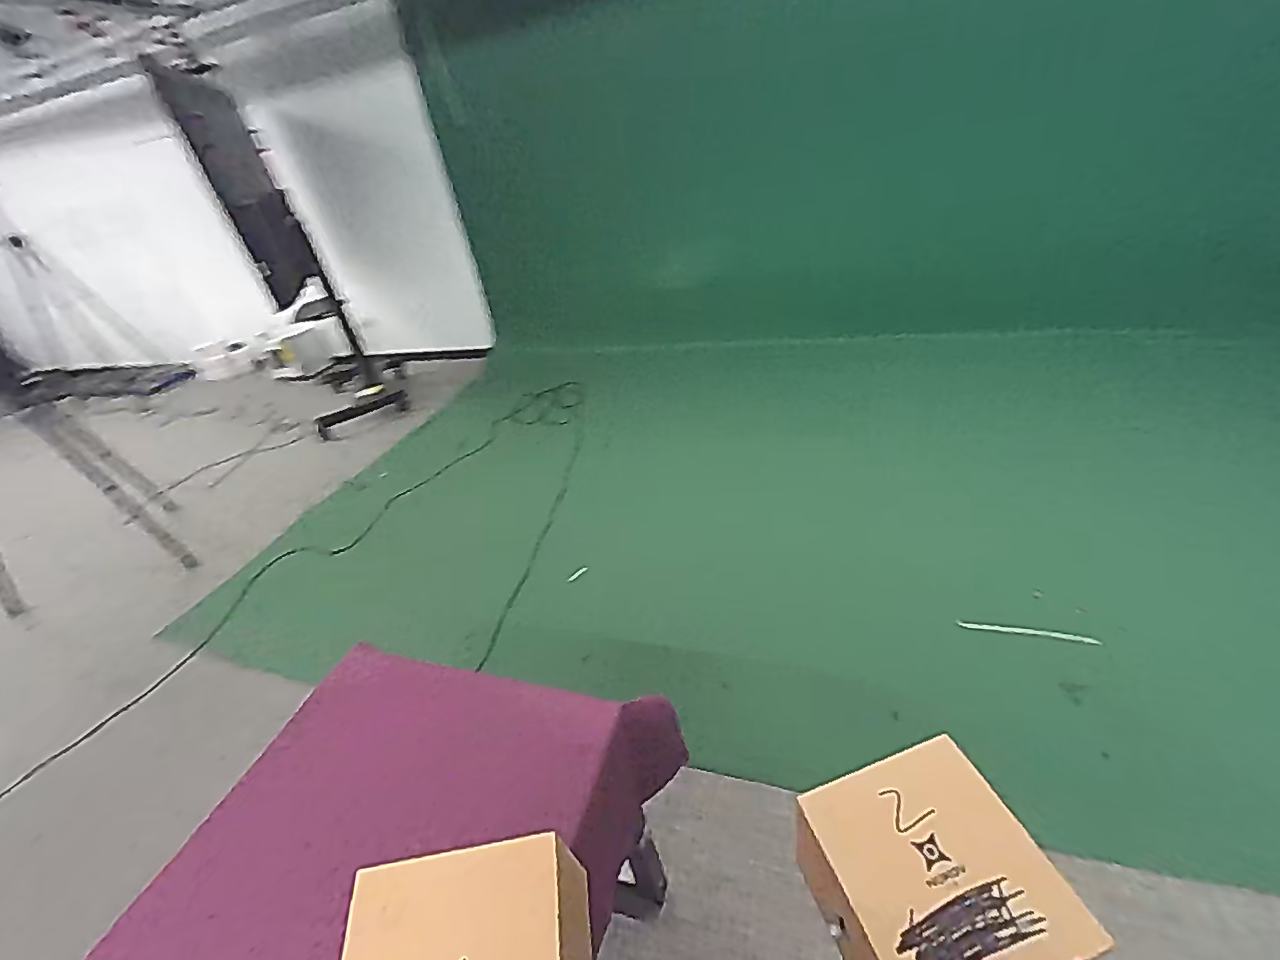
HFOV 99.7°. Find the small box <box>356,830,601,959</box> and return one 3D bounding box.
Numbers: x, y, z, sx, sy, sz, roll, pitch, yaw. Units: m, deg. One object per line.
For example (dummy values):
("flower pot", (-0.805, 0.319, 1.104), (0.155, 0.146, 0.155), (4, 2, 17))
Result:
("small box", (-0.124, 0.419, 0.447), (0.168, 0.176, 0.179), (-8, 47, -2))
